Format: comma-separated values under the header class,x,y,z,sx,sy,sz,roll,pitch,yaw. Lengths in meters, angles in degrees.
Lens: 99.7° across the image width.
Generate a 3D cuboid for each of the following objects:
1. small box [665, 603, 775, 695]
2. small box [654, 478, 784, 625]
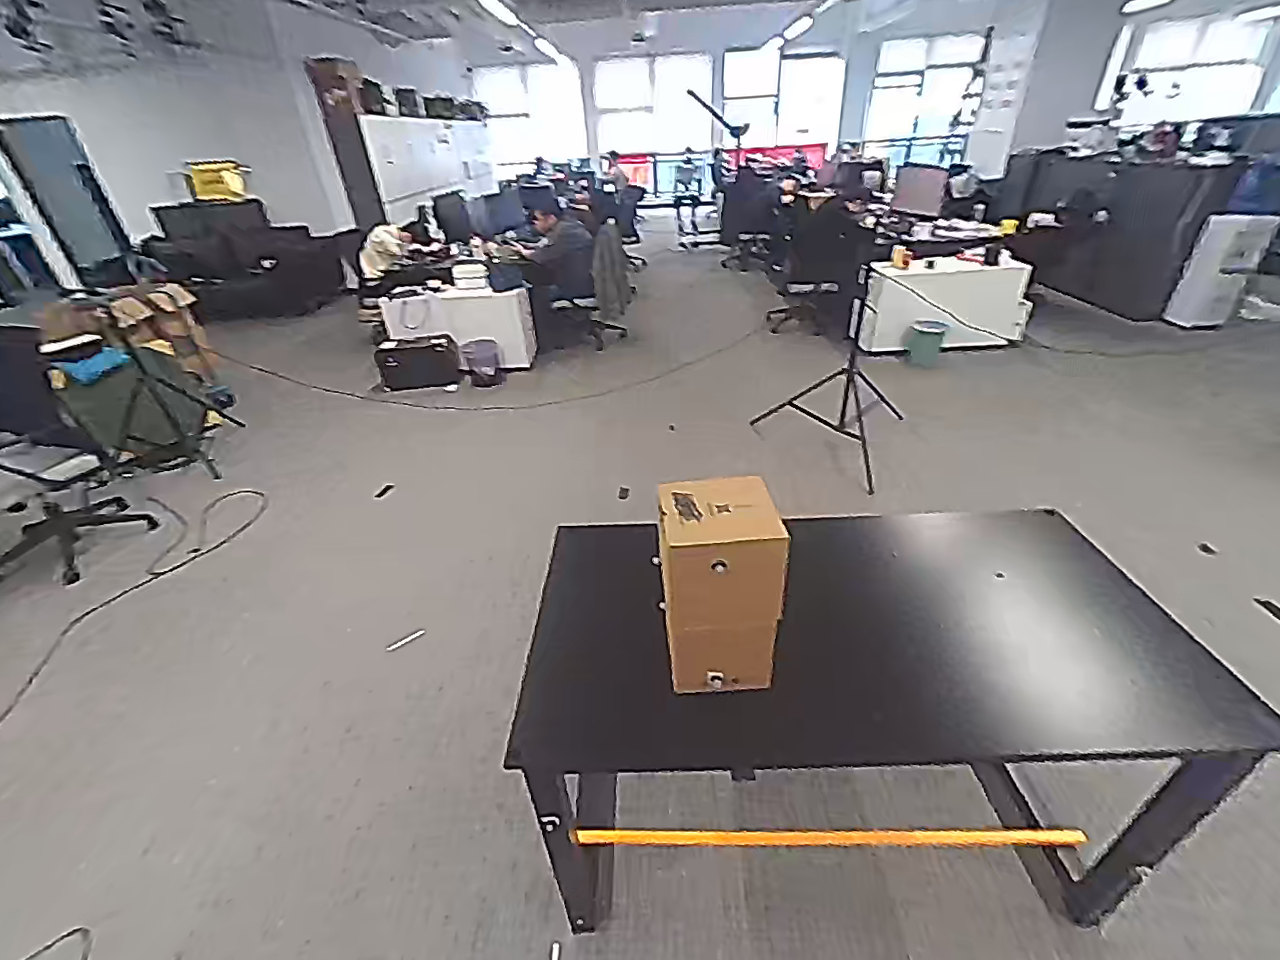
class,x,y,z,sx,sy,sz,roll,pitch,yaw
small box,0.132,0.251,0.960,0.168,0.176,0.179,-5,34,-1
small box,0.120,0.115,0.868,0.179,0.176,0.168,-5,33,-1
